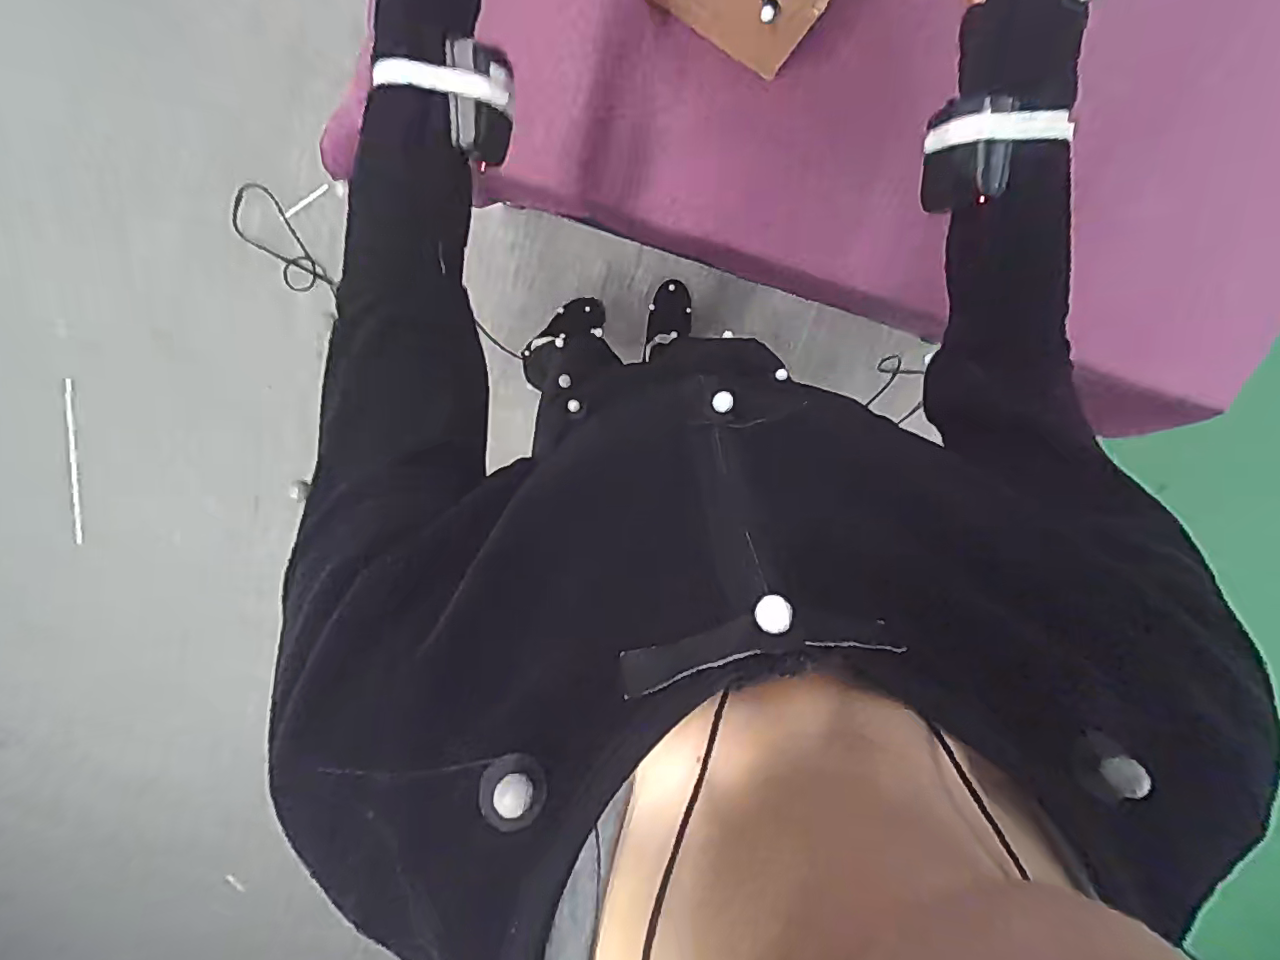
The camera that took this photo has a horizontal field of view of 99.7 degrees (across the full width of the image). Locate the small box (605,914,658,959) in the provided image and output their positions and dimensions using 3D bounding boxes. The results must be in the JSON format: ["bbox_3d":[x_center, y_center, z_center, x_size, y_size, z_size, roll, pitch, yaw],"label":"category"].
[{"bbox_3d":[-0.036,1.809,2.072,0.179,0.176,0.168,10,108,-7],"label":"small box"}]

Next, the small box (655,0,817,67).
[{"bbox_3d":[0.110,-0.540,0.507,0.179,0.176,0.168,25,106,-11],"label":"small box"}]
